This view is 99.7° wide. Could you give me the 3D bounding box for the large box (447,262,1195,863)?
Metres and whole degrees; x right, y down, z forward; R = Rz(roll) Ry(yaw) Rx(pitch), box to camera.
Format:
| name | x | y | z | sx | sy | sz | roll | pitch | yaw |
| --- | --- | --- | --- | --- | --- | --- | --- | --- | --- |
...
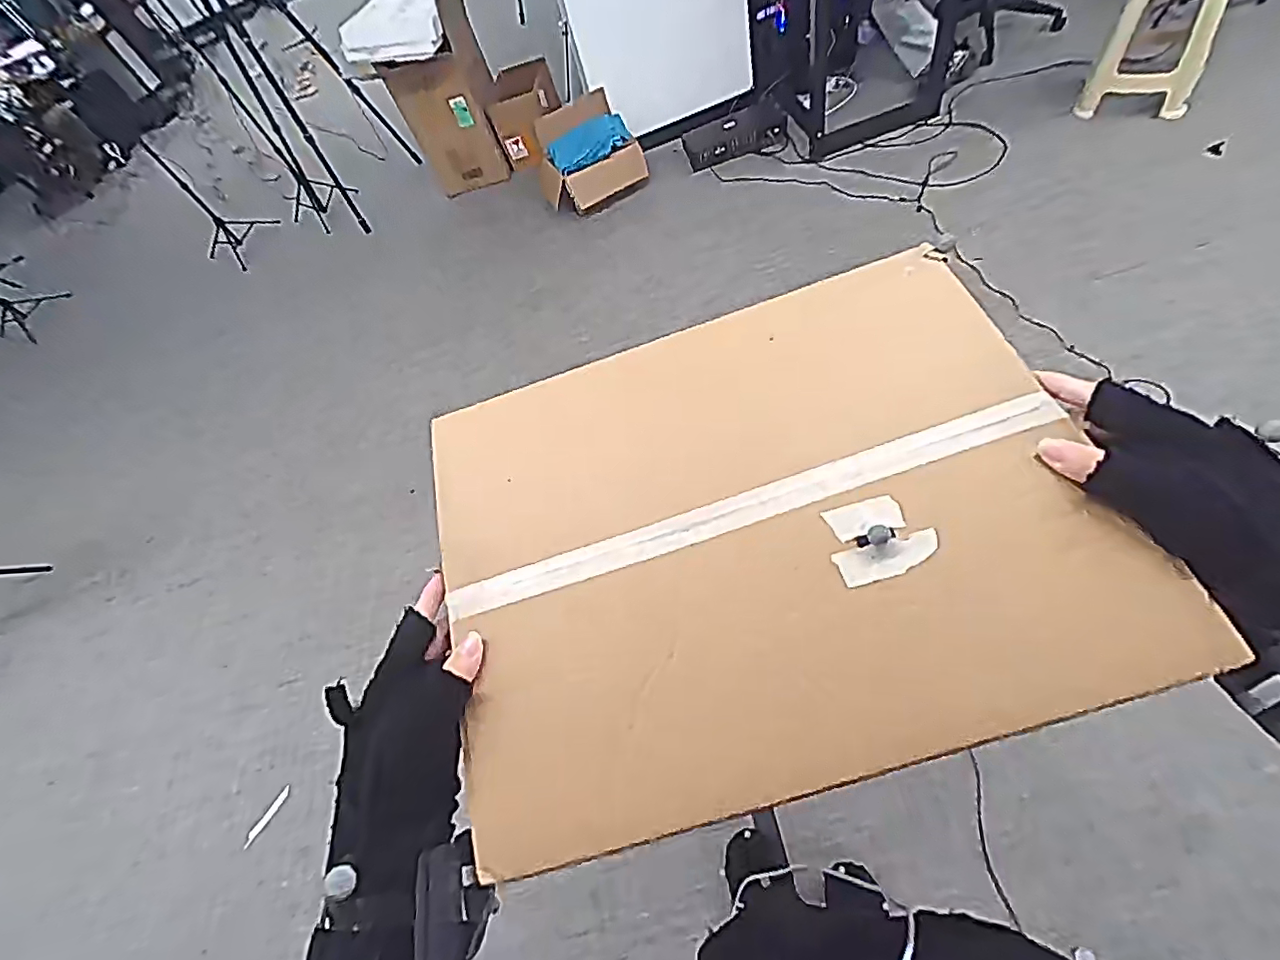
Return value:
| name | x | y | z | sx | sy | sz | roll | pitch | yaw |
| --- | --- | --- | --- | --- | --- | --- | --- | --- | --- |
| large box | 0.096 | 0.086 | 0.493 | 0.408 | 0.320 | 0.320 | -19 | 63 | 3 |
